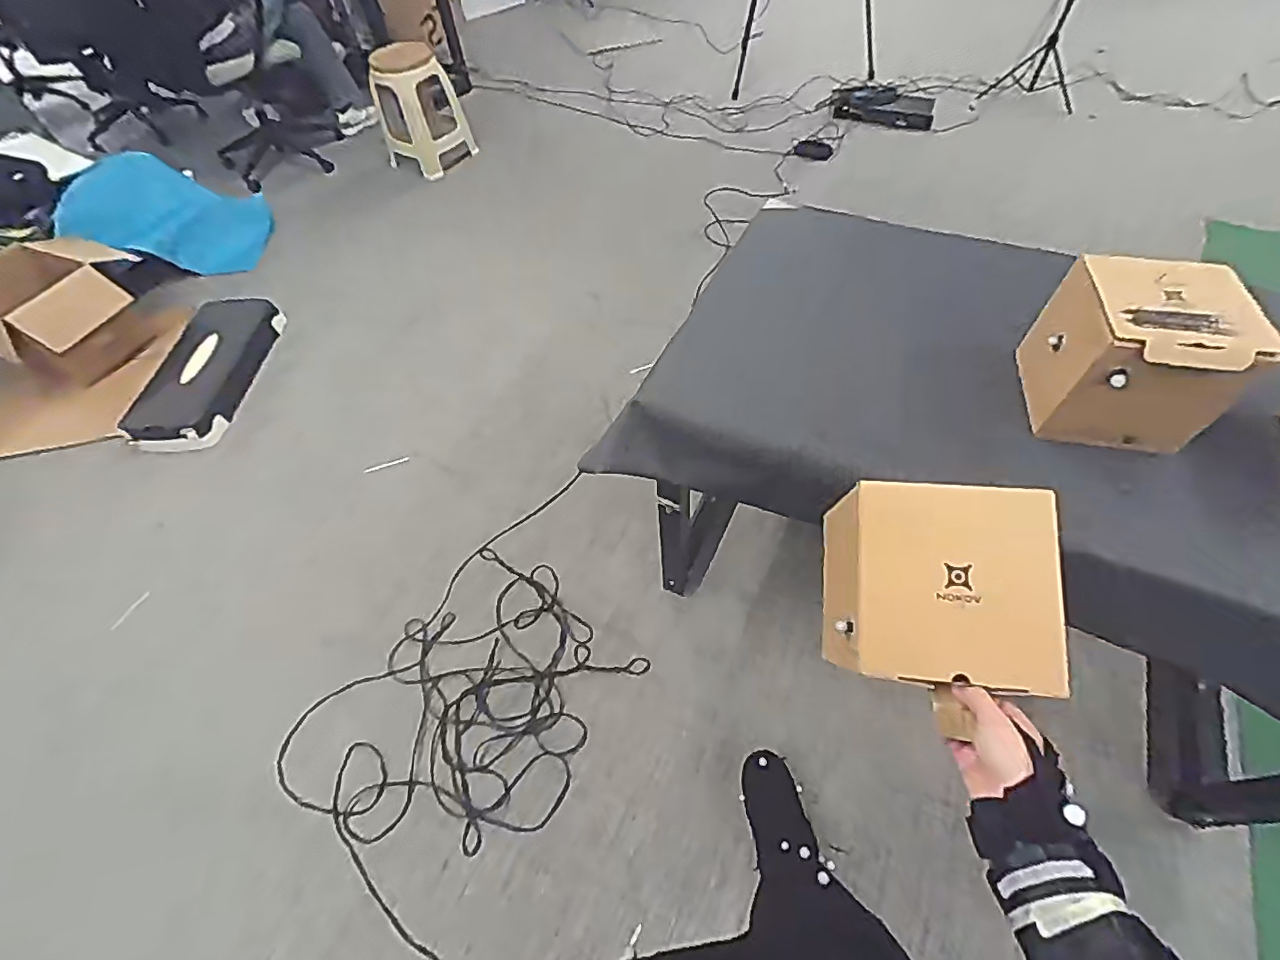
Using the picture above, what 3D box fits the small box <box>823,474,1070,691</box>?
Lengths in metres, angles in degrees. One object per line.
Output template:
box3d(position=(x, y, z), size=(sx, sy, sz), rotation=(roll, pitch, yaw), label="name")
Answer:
box3d(position=(0.285, 0.102, 0.545), size=(0.168, 0.176, 0.179), rotation=(3, 77, 8), label="small box")
